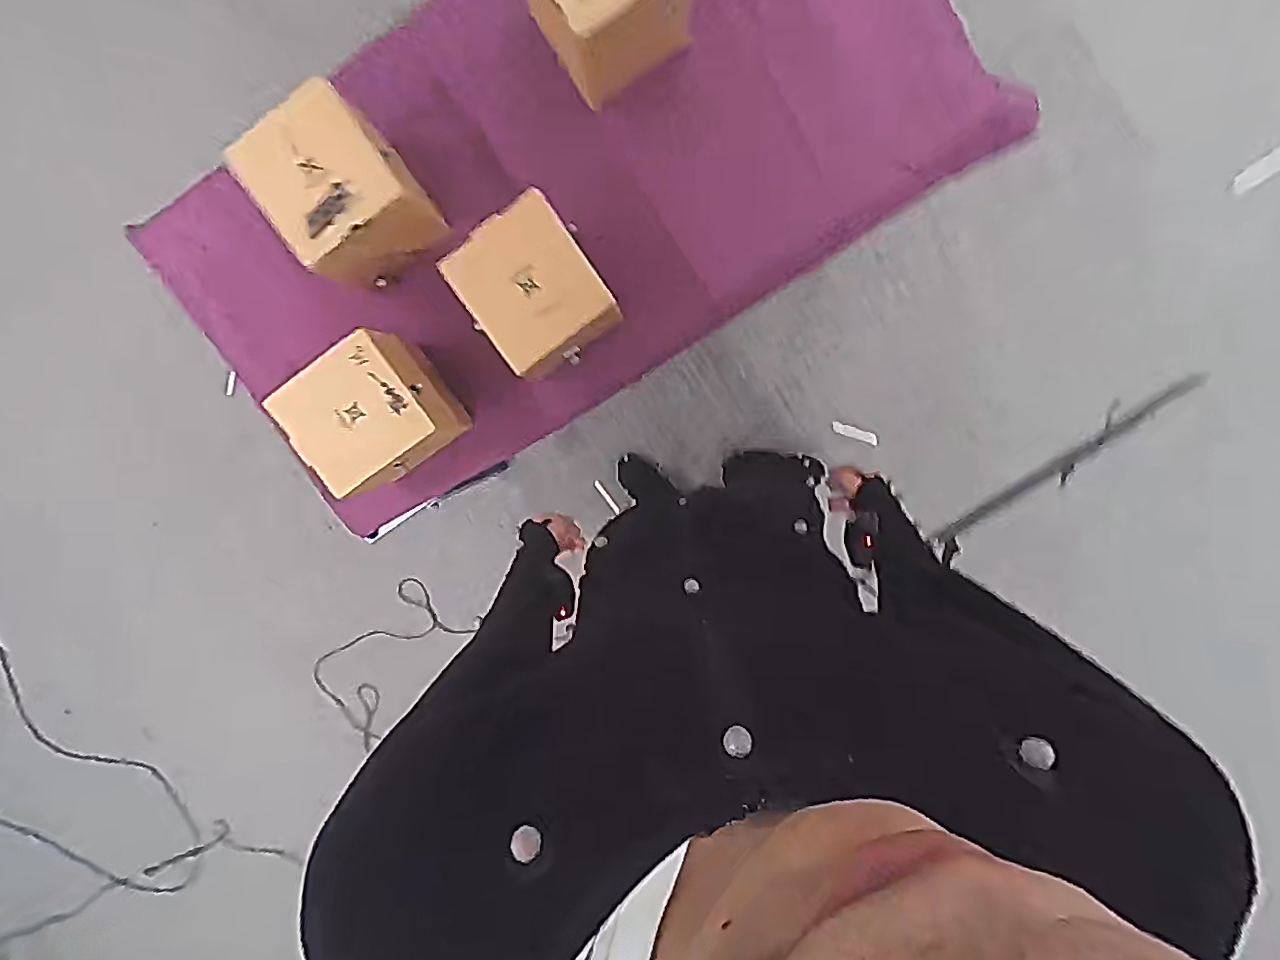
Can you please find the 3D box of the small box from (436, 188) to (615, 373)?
[{"bbox_3d":[-0.151,-0.270,0.782,0.168,0.176,0.179,-35,97,6],"label":"small box"}]

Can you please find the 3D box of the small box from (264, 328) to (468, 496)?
[{"bbox_3d":[-0.392,-0.100,0.809,0.179,0.176,0.168,-34,96,6],"label":"small box"}]

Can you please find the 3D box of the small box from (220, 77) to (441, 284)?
[{"bbox_3d":[-0.419,-0.402,0.769,0.168,0.176,0.179,-35,96,5],"label":"small box"}]
